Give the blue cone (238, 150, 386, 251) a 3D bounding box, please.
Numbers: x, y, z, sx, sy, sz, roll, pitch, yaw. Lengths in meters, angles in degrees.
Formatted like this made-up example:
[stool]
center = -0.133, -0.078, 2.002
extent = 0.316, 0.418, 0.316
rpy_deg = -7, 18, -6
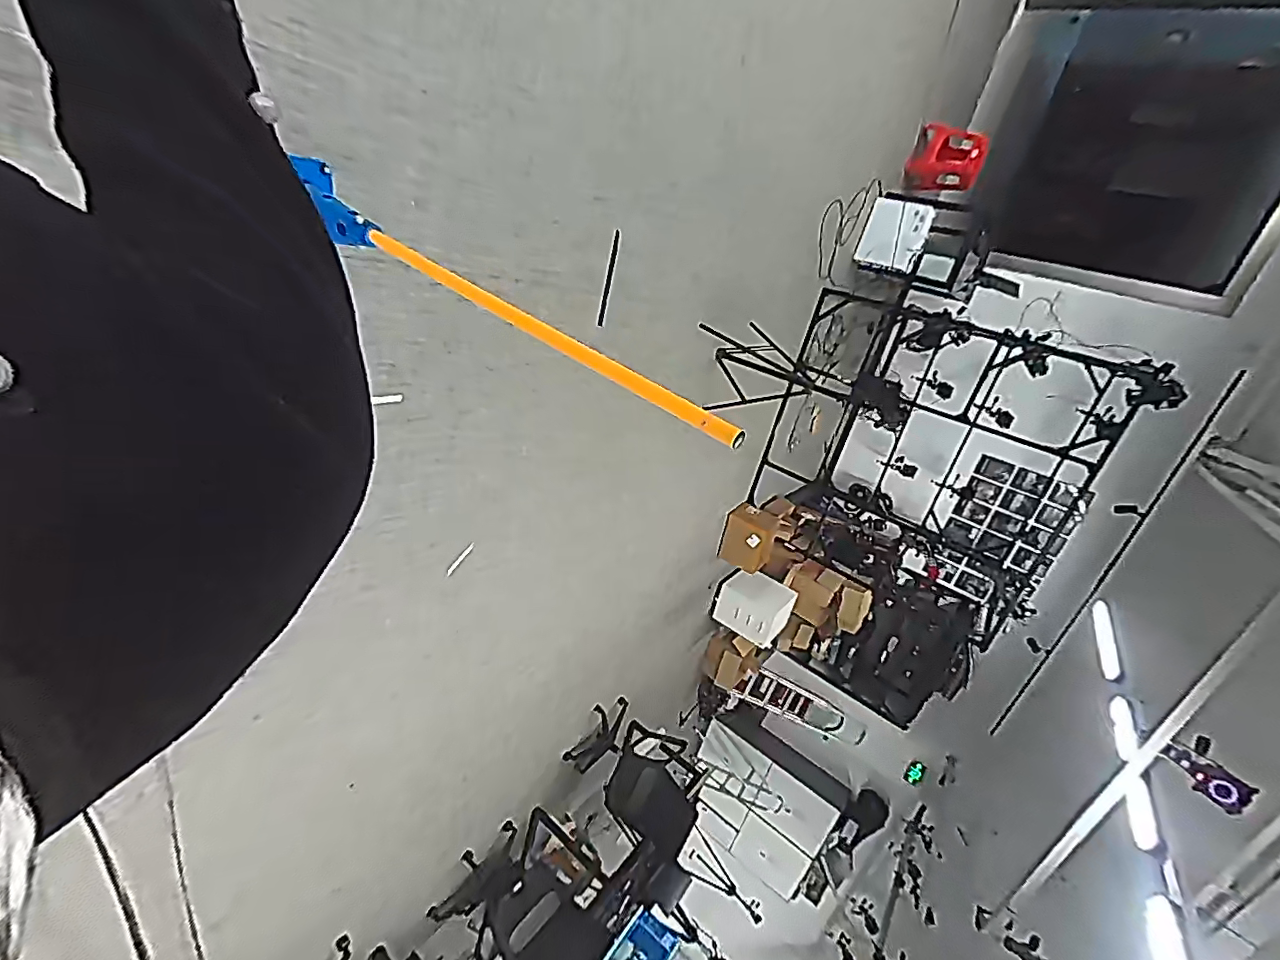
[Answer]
[blue cone]
center = -0.649, -0.550, 1.127
extent = 0.193, 0.380, 0.192
rpy_deg = -22, 132, -50
